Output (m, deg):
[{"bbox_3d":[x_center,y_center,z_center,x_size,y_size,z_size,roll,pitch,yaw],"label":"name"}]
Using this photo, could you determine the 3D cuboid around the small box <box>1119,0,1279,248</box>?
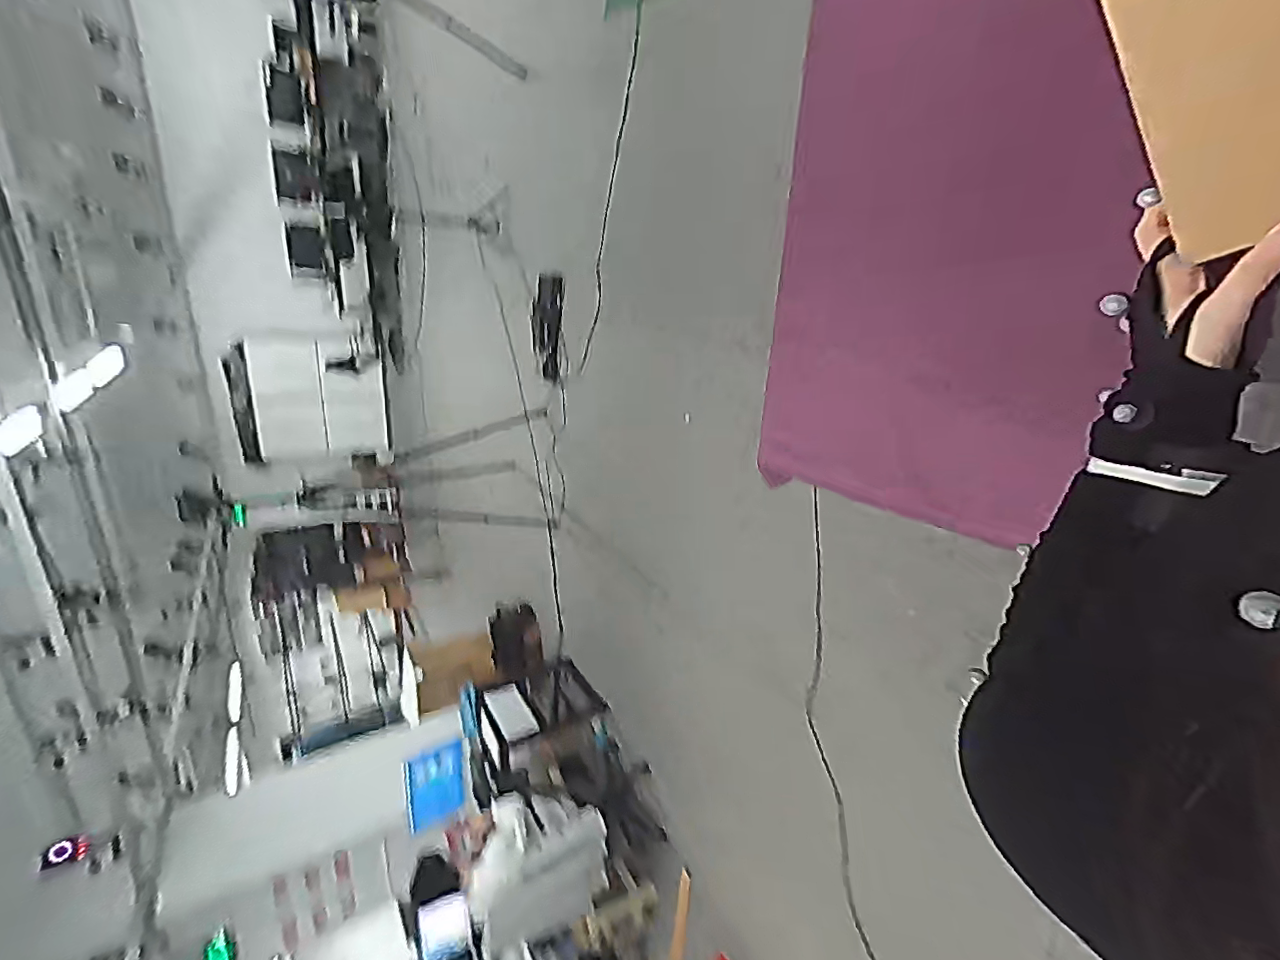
[{"bbox_3d":[0.364,-0.256,0.263,0.168,0.176,0.179,-9,121,55],"label":"small box"}]
